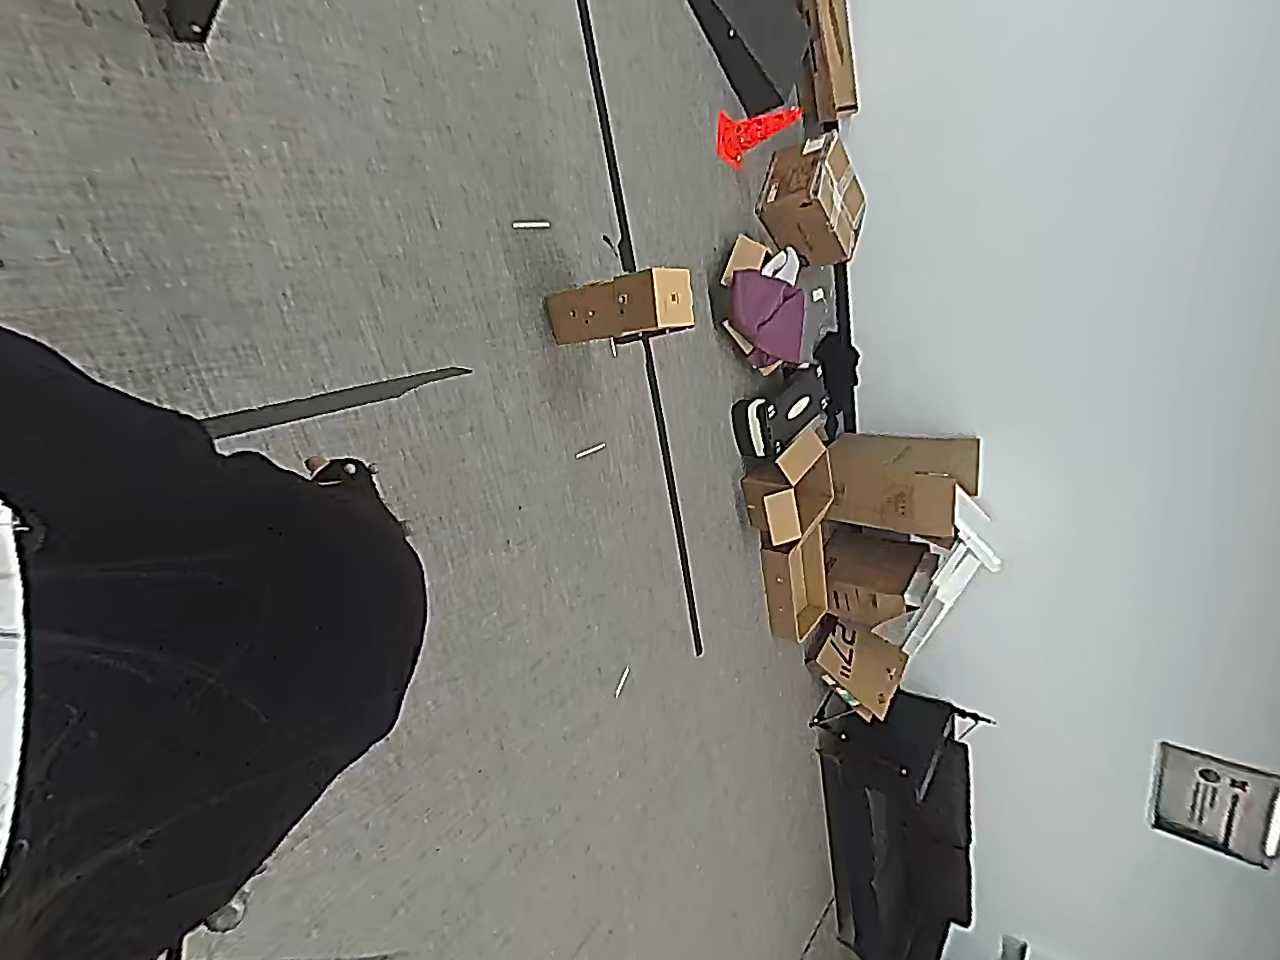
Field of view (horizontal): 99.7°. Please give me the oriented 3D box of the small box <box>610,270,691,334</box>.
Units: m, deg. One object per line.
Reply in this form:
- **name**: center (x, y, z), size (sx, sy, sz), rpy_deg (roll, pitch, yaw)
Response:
- **small box**: center (0.034, -0.539, 1.645), size (0.179, 0.176, 0.168), rpy_deg (-21, 109, -43)

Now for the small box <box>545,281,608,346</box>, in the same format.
- **small box**: center (-0.204, -0.573, 1.867), size (0.168, 0.176, 0.179), rpy_deg (-32, 118, -41)

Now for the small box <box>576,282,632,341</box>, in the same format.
- **small box**: center (-0.082, -0.554, 1.759), size (0.179, 0.176, 0.168), rpy_deg (-28, 115, -42)
